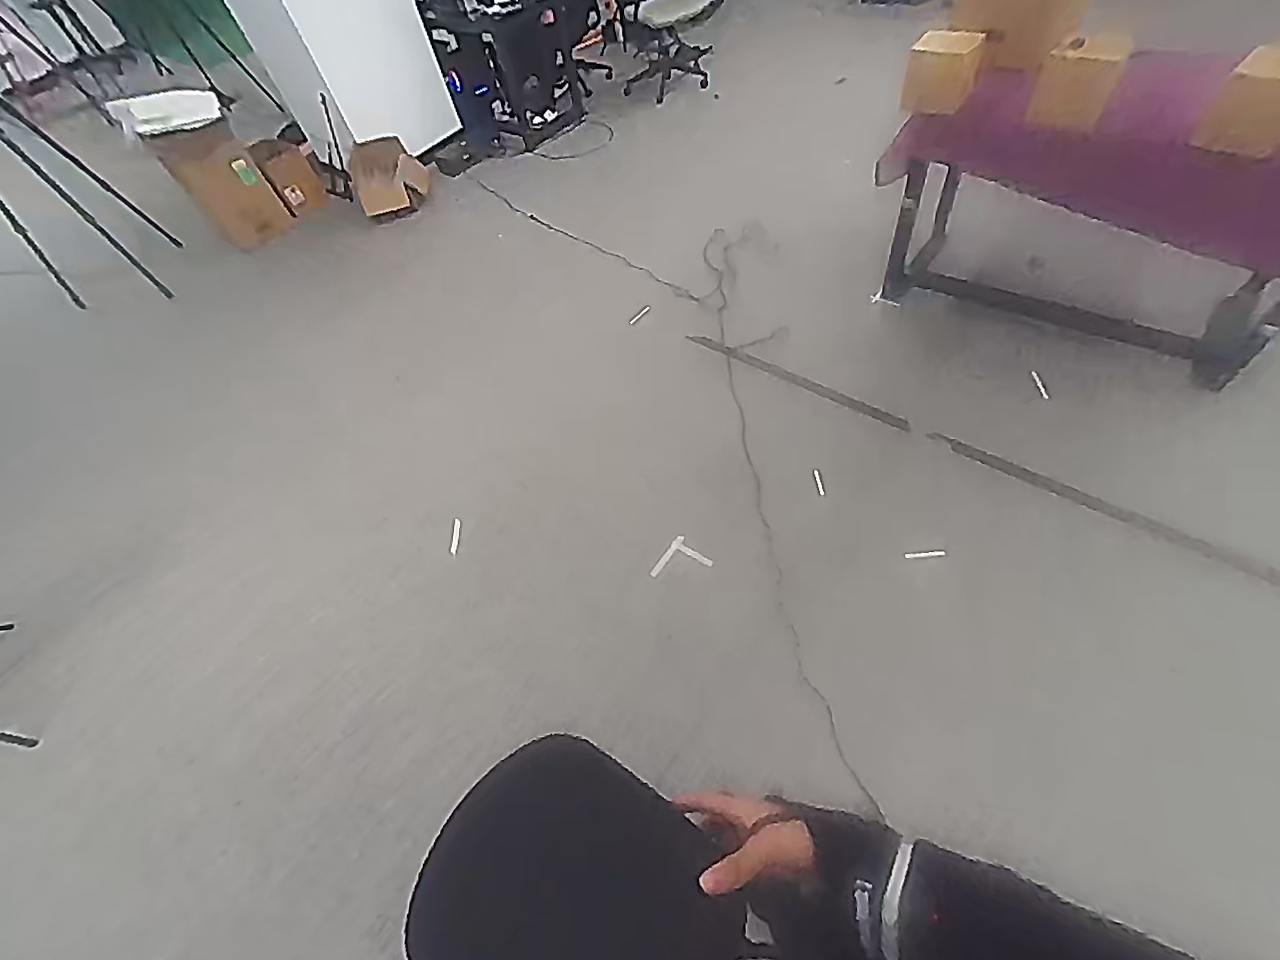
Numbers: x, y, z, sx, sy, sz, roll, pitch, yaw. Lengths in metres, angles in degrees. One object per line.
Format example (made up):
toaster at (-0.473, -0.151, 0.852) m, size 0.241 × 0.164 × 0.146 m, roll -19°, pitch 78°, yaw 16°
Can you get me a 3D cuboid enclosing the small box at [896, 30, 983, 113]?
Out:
small box at (0.950, -1.305, 1.730) m, size 0.179 × 0.176 × 0.168 m, roll 28°, pitch 64°, yaw 26°
